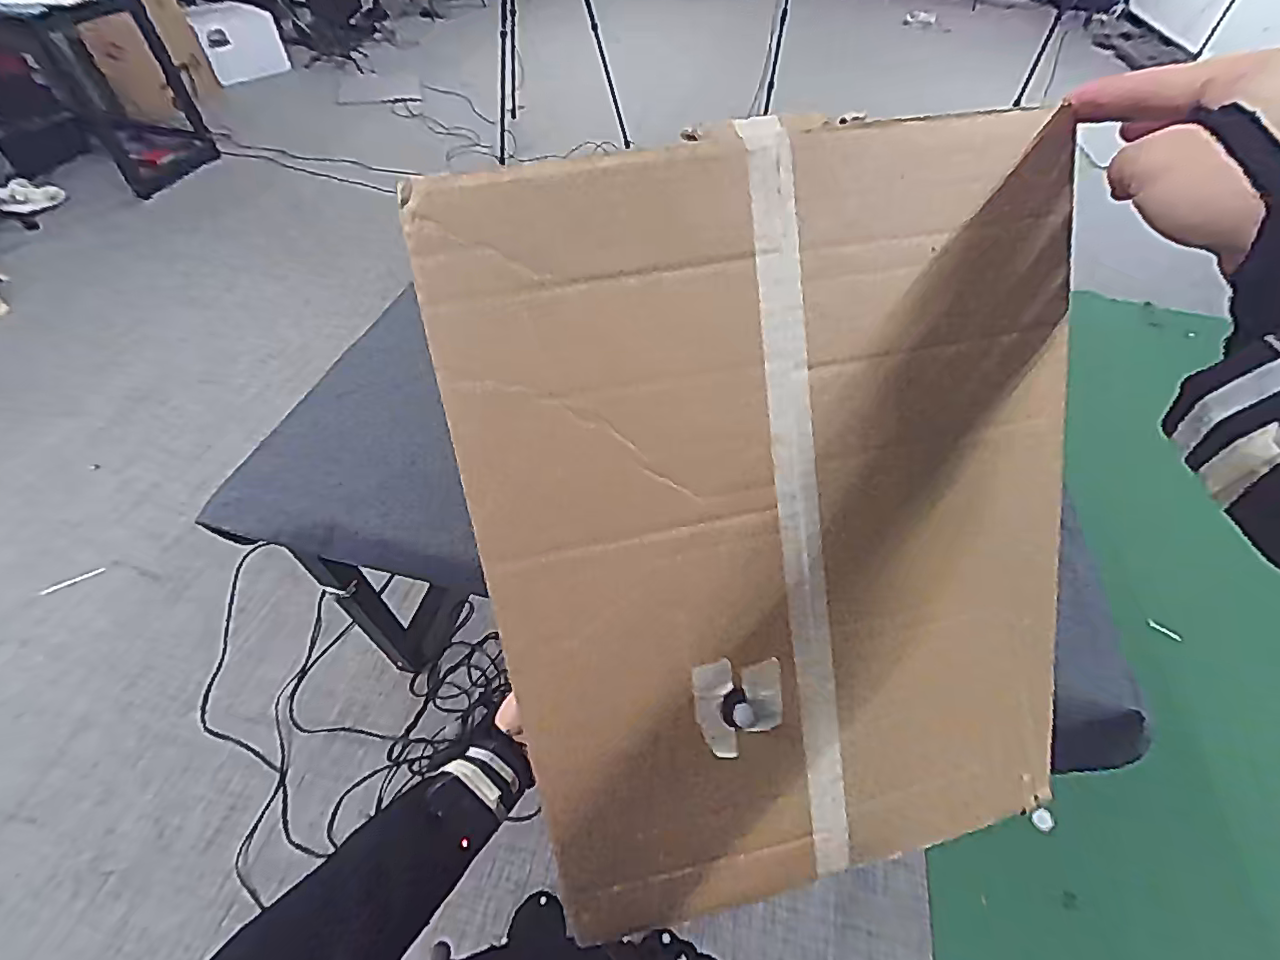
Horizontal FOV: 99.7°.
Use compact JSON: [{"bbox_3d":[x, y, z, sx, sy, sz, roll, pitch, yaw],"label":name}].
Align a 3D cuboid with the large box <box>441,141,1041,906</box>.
[{"bbox_3d":[0.063,0.010,0.447,0.320,0.408,0.320,-12,16,-8],"label":"large box"}]
